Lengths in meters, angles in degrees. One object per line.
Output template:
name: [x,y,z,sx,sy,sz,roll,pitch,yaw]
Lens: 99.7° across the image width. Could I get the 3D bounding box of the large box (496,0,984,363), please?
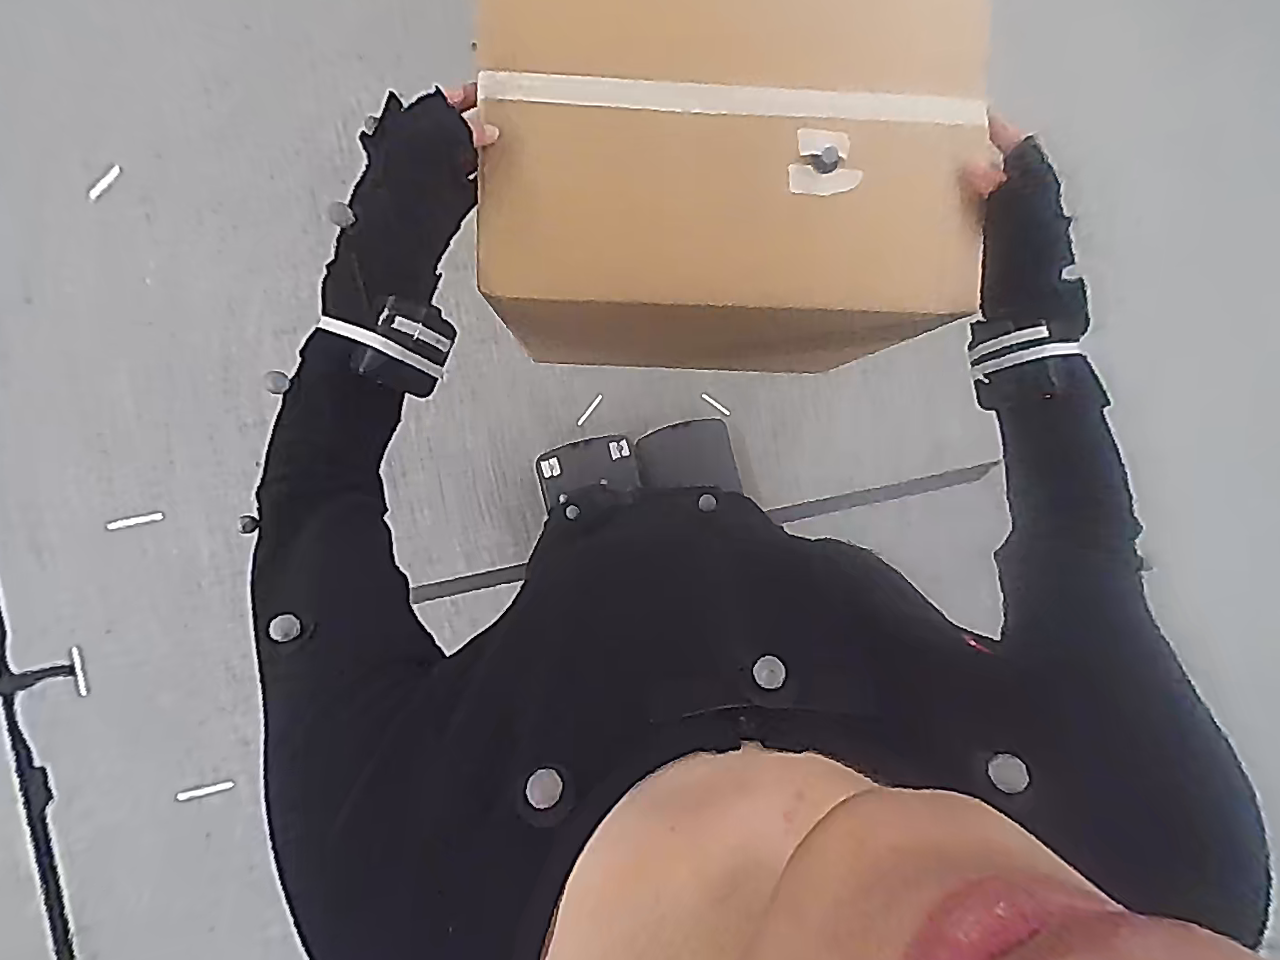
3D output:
large box: [0.072,-0.310,0.586,0.408,0.320,0.320,1,93,-4]
